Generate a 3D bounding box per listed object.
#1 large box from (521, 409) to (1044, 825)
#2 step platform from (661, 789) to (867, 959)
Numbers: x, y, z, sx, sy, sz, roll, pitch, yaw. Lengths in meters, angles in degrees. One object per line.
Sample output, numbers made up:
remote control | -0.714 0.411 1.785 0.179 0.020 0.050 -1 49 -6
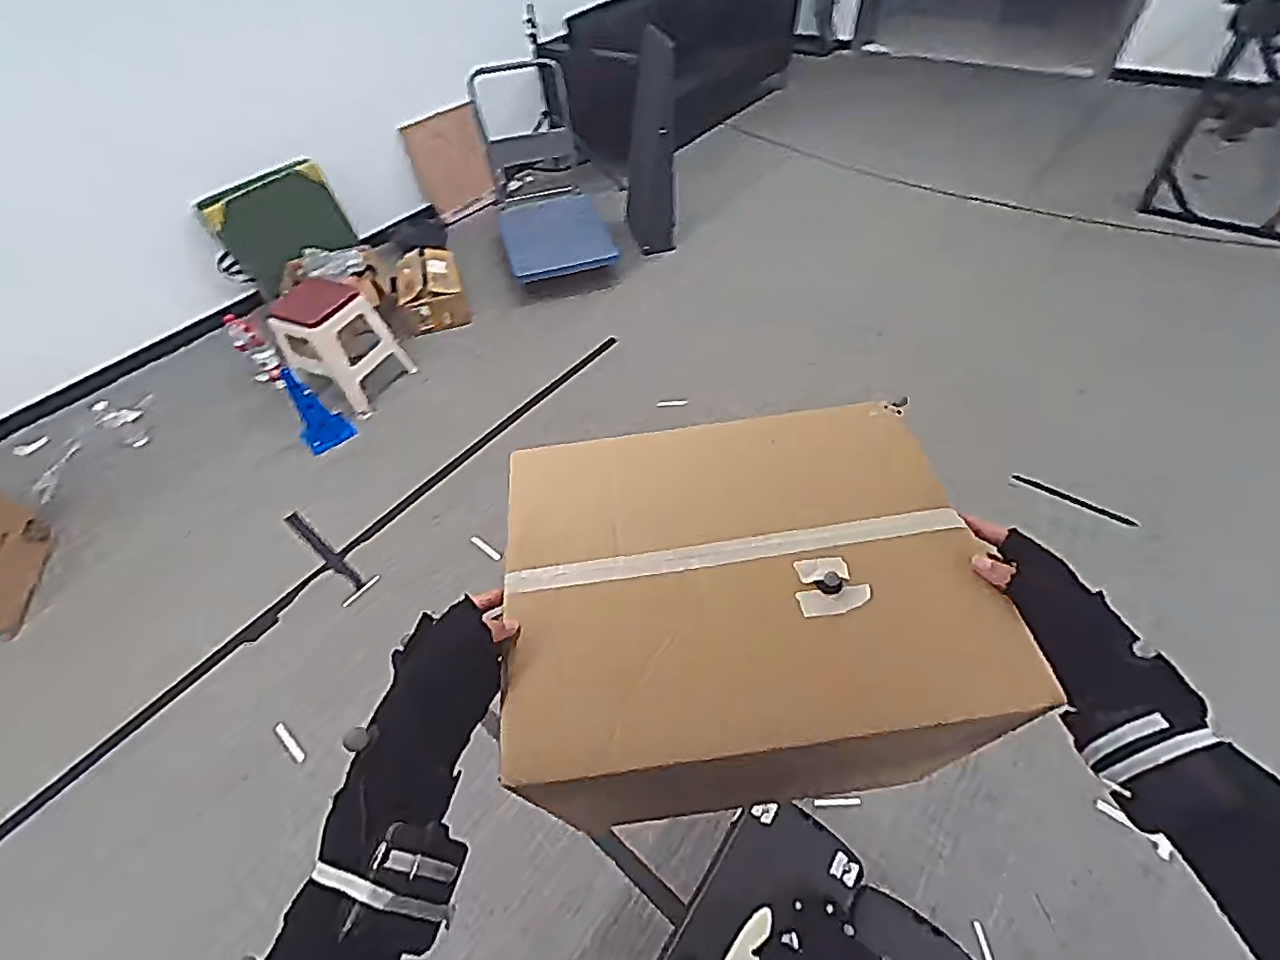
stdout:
large box | 0.098 0.161 0.605 0.408 0.320 0.320 -8 52 -1
step platform | 0.231 1.018 1.178 0.286 0.204 0.684 27 57 24
